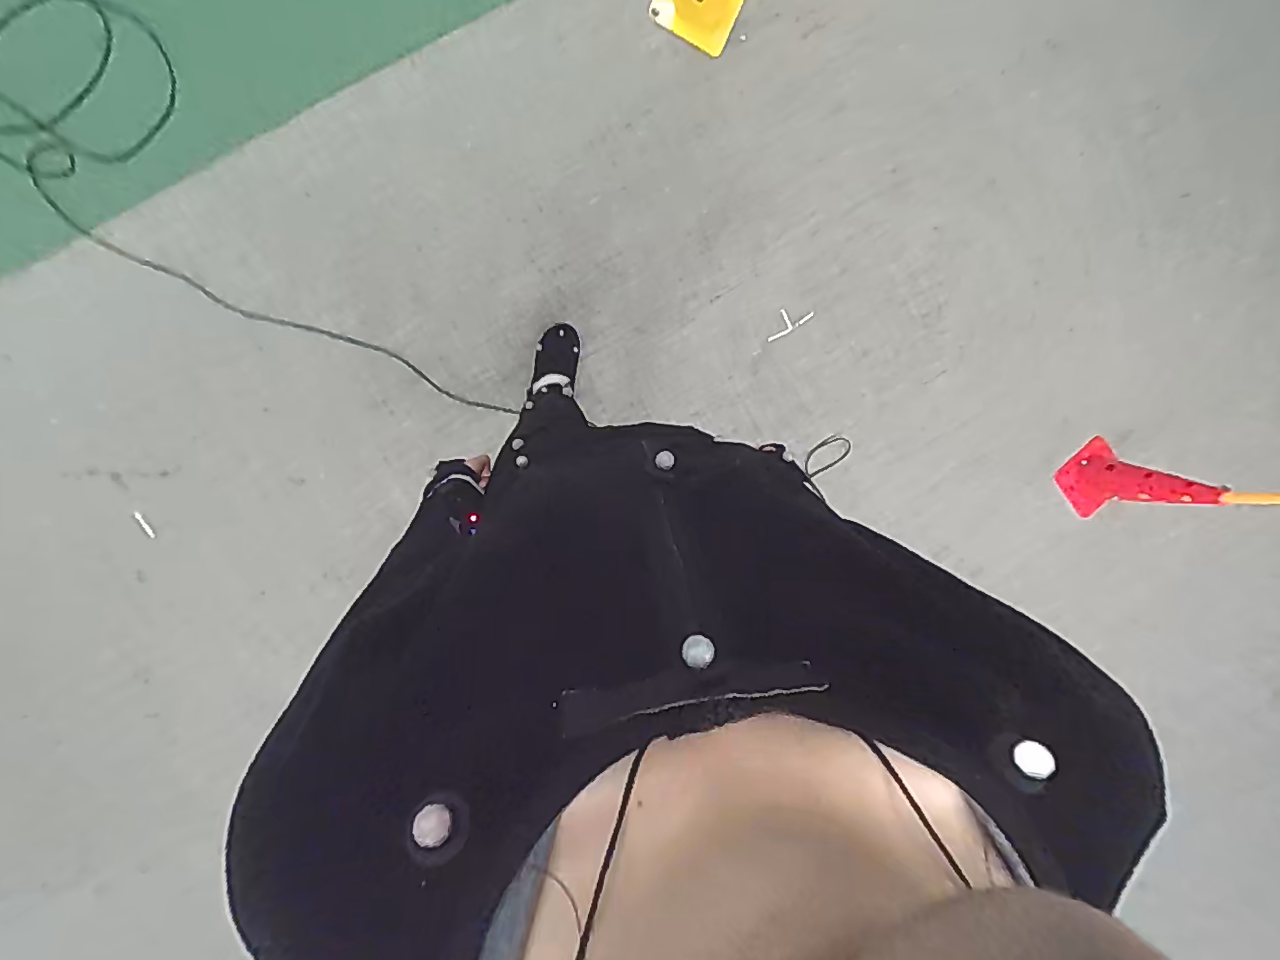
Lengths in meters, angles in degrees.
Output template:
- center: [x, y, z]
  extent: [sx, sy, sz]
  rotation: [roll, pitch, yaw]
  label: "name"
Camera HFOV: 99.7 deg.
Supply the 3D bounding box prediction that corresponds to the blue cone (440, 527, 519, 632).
- center: [-0.411, 0.263, 1.302]
  extent: [0.192, 0.380, 0.193]
  rotation: [15, 100, -11]
  label: "blue cone"
